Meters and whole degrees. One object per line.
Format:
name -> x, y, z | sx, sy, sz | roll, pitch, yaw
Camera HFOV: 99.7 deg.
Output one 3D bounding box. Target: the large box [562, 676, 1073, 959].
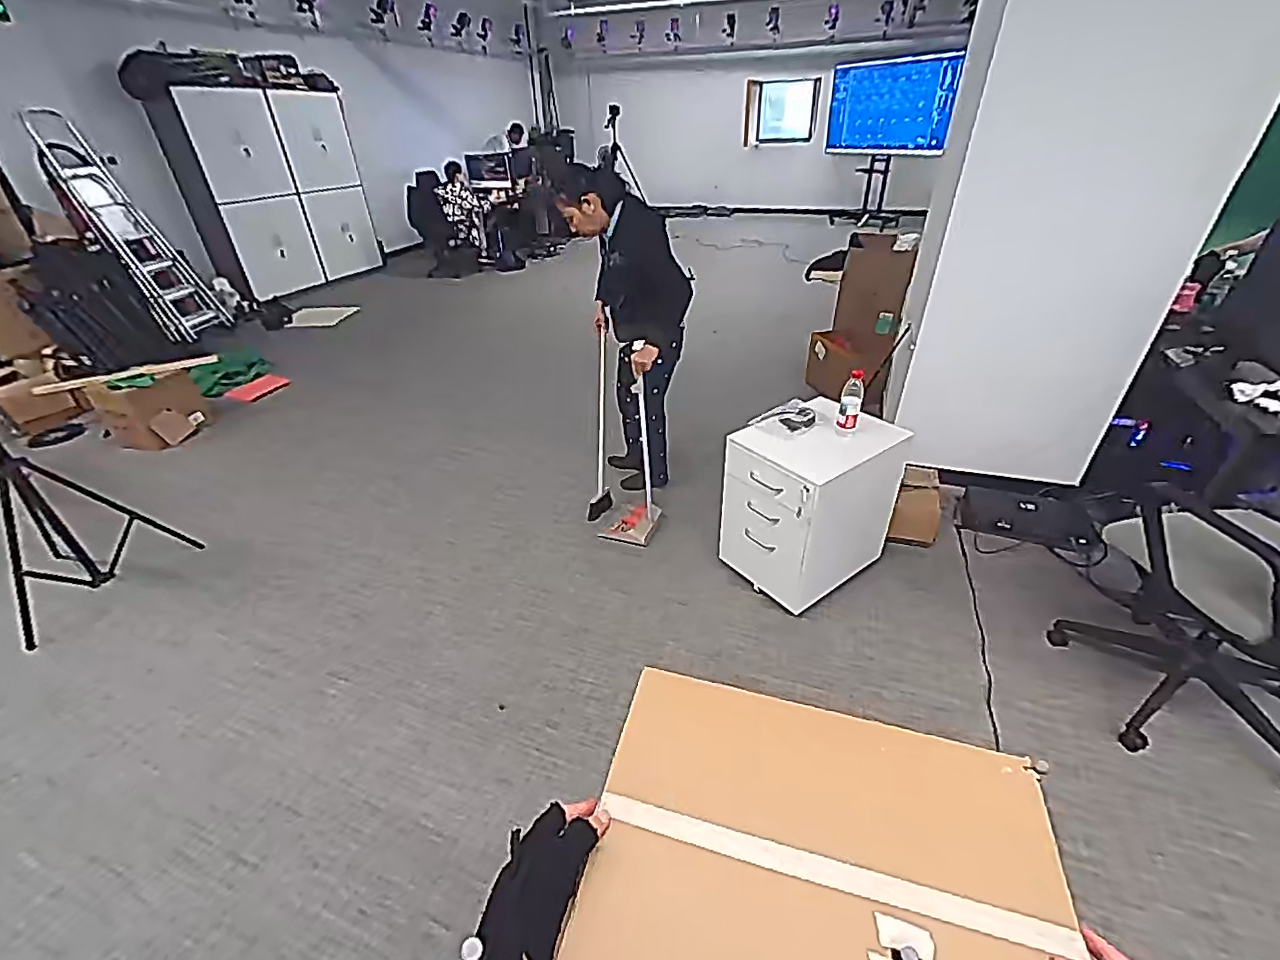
large box -> 0.160, 0.467, 0.574 | 0.408, 0.320, 0.320 | 9, 39, 14
